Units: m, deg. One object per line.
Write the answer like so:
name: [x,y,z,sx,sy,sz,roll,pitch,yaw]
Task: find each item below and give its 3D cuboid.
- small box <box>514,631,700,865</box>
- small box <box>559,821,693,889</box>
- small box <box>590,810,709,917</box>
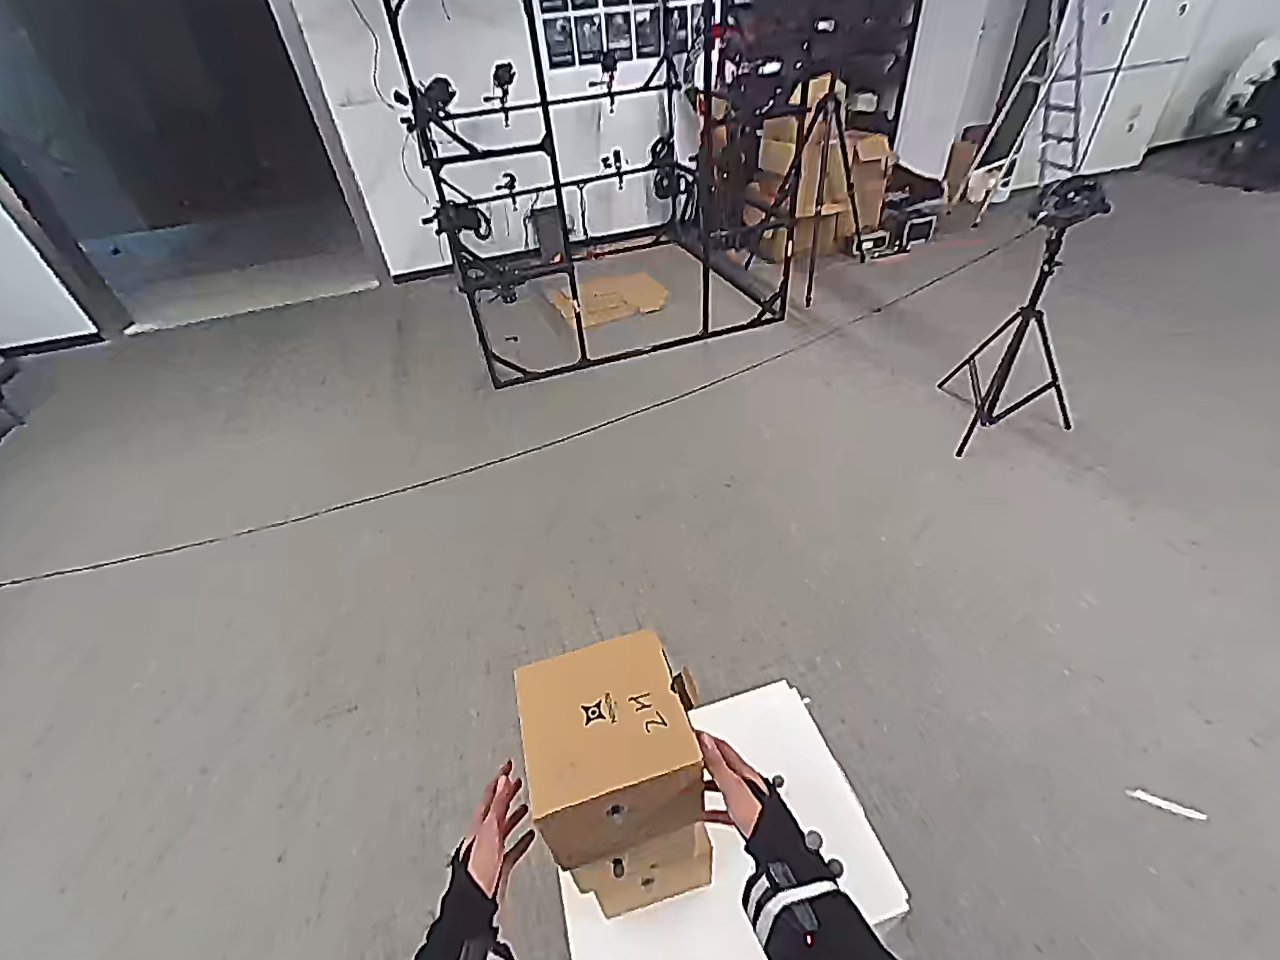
small box: [-0.036,0.313,0.632,0.179,0.176,0.168,-13,40,-10]
small box: [-0.027,0.431,0.747,0.168,0.176,0.179,-12,39,-7]
small box: [0.002,0.551,0.853,0.179,0.176,0.168,-12,40,-9]
